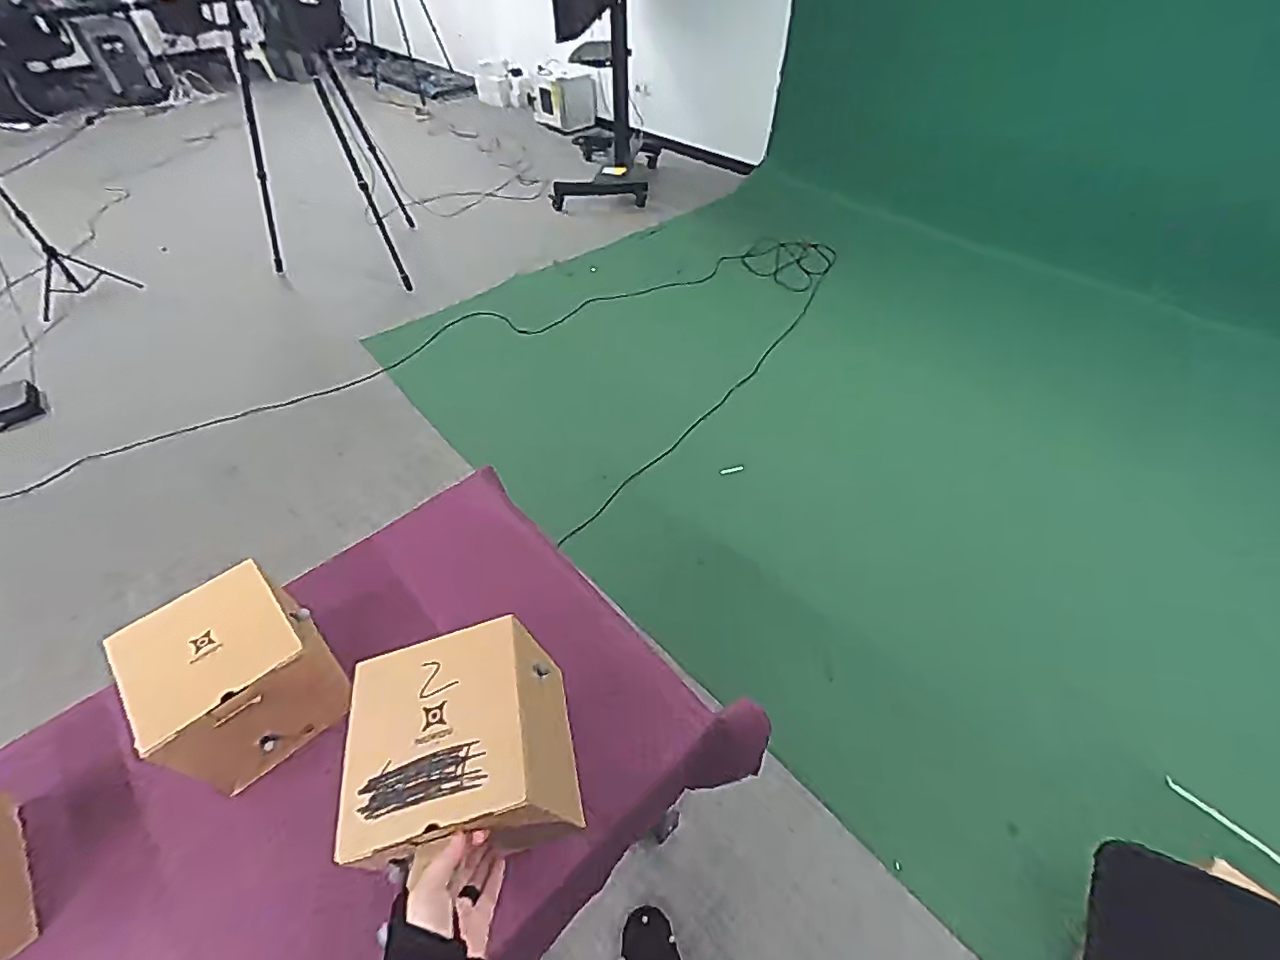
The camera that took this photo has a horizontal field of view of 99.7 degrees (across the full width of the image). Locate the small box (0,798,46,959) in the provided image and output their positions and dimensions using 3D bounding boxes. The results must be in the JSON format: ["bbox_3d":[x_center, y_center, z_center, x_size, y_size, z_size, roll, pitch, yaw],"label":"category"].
[{"bbox_3d":[-0.745,0.425,0.525,0.168,0.176,0.179,-34,56,-27],"label":"small box"}]

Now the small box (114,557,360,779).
[{"bbox_3d":[-0.496,0.240,0.685,0.168,0.176,0.179,-37,58,-27],"label":"small box"}]
